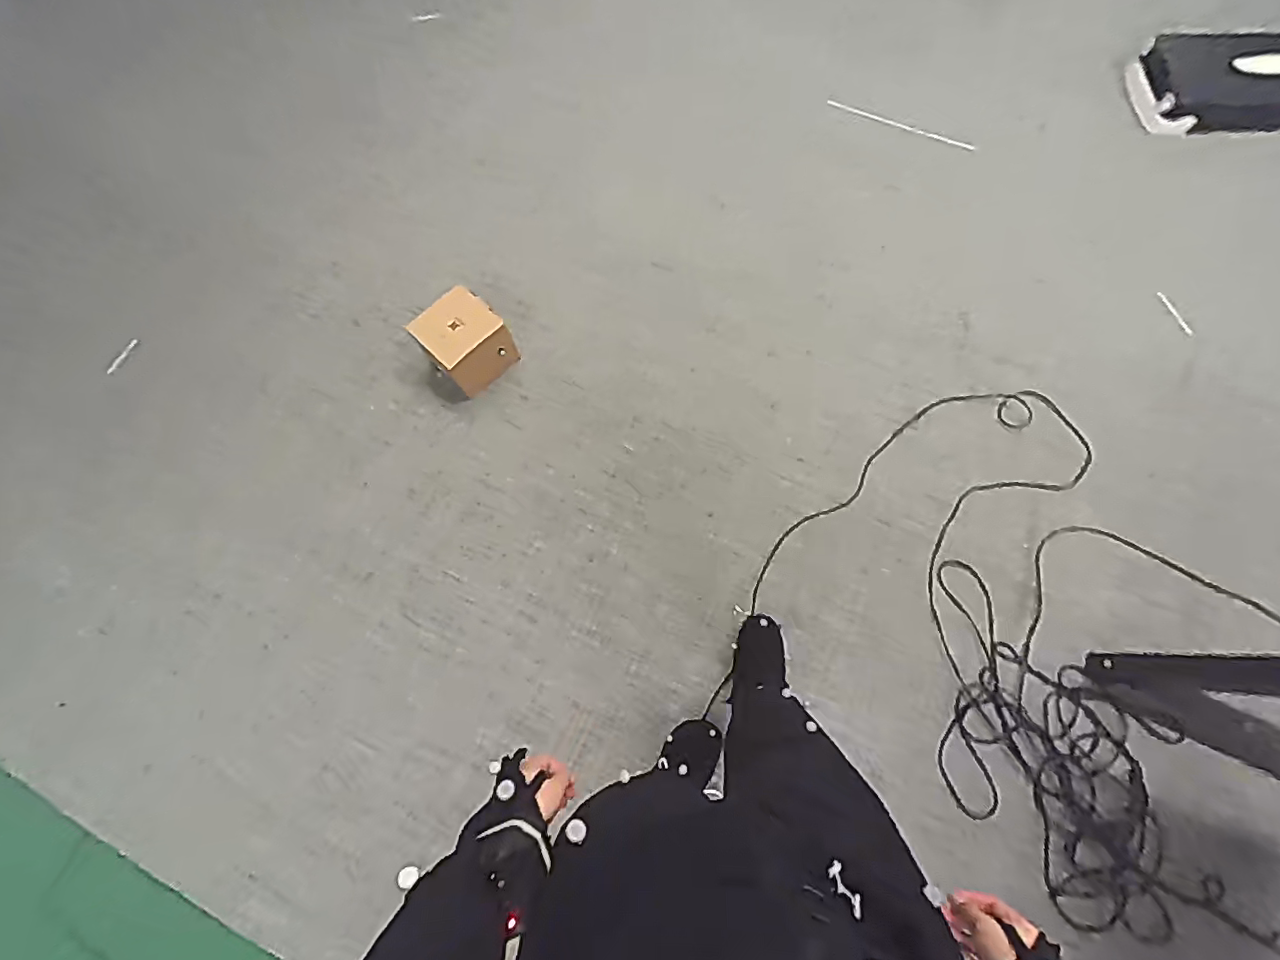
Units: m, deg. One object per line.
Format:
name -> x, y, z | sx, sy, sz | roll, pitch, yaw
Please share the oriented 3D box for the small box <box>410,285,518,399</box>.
small box -> -0.426, -0.338, 1.349 | 0.168, 0.176, 0.179 | 42, 79, 13
